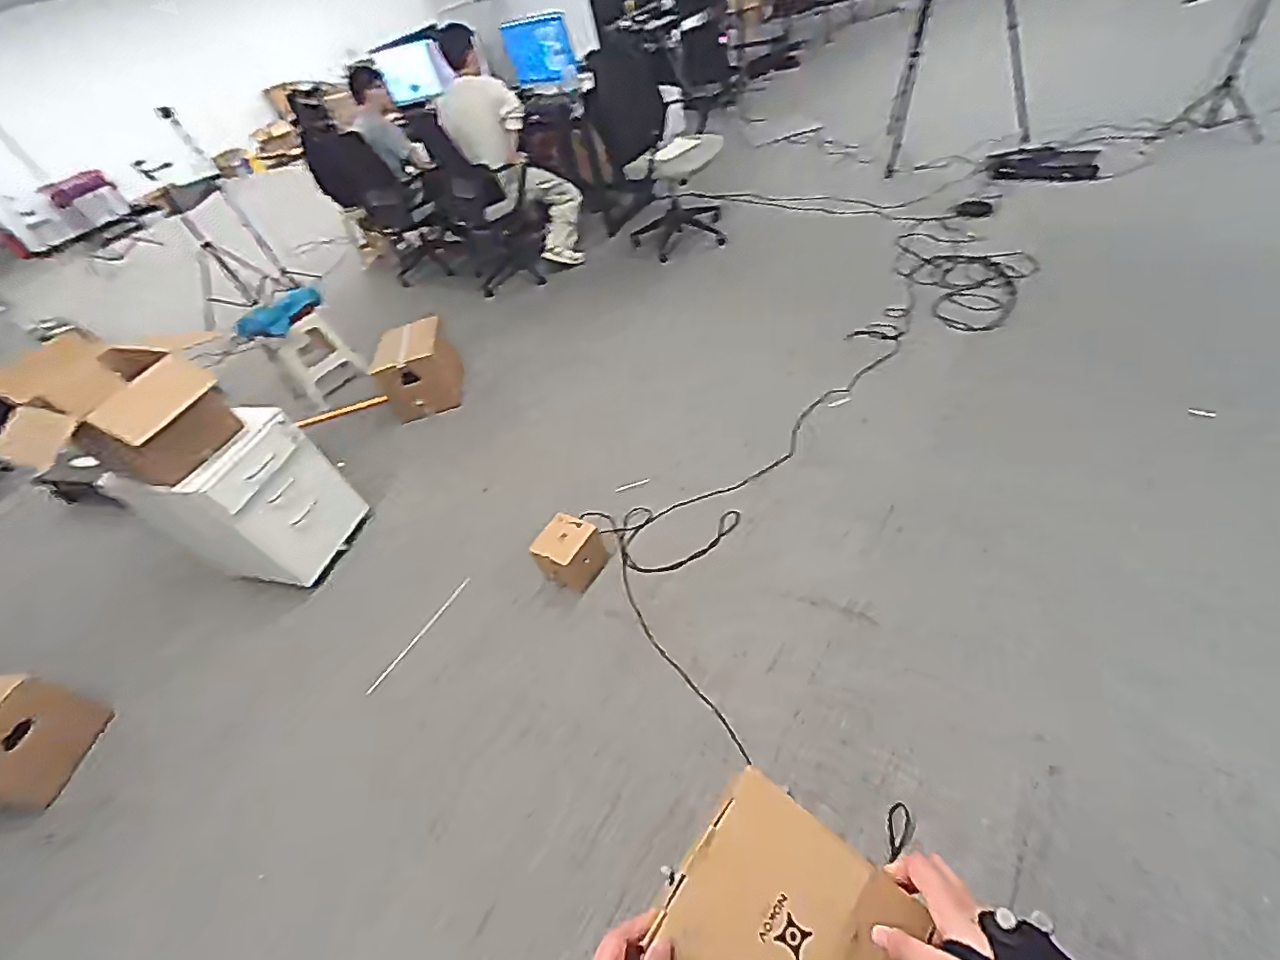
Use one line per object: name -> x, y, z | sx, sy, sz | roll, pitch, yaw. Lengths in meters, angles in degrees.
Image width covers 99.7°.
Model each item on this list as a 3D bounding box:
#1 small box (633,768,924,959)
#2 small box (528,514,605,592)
small box -> 0.114, 0.400, 0.499 | 0.179, 0.176, 0.168 | 33, 68, 20
small box -> -0.239, 0.249, 1.827 | 0.168, 0.176, 0.179 | 17, 56, 30
